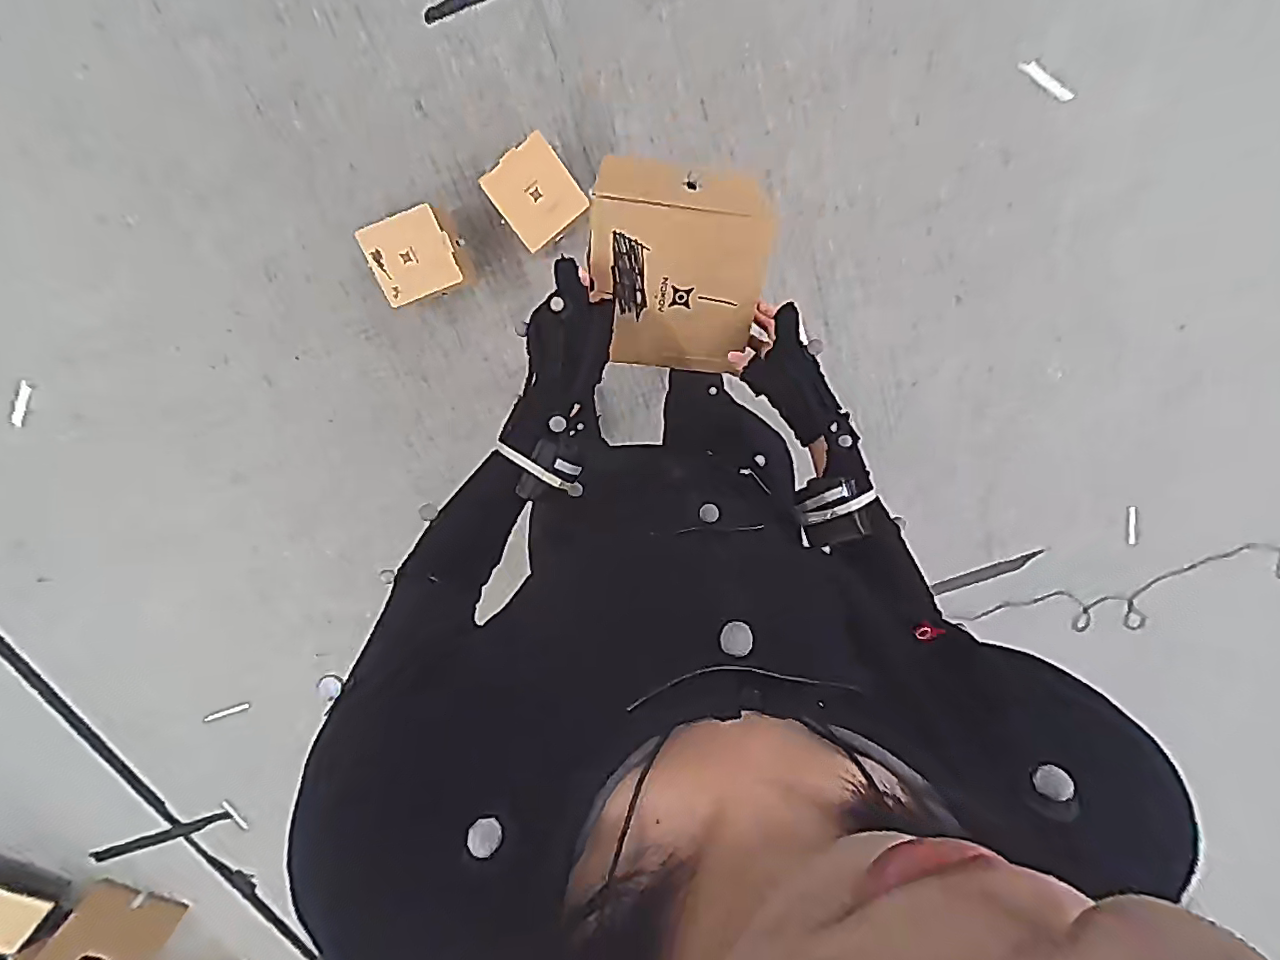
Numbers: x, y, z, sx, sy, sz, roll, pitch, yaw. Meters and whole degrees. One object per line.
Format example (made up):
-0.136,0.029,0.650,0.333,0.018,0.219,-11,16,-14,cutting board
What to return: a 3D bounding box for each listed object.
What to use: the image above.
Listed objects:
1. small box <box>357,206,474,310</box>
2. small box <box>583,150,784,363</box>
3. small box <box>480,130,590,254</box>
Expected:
-0.492,-0.499,1.222,0.179,0.176,0.168,-20,110,3,small box
0.035,-0.249,0.594,0.179,0.176,0.168,5,130,-4,small box
-0.223,-0.624,1.199,0.168,0.176,0.179,-36,110,10,small box
